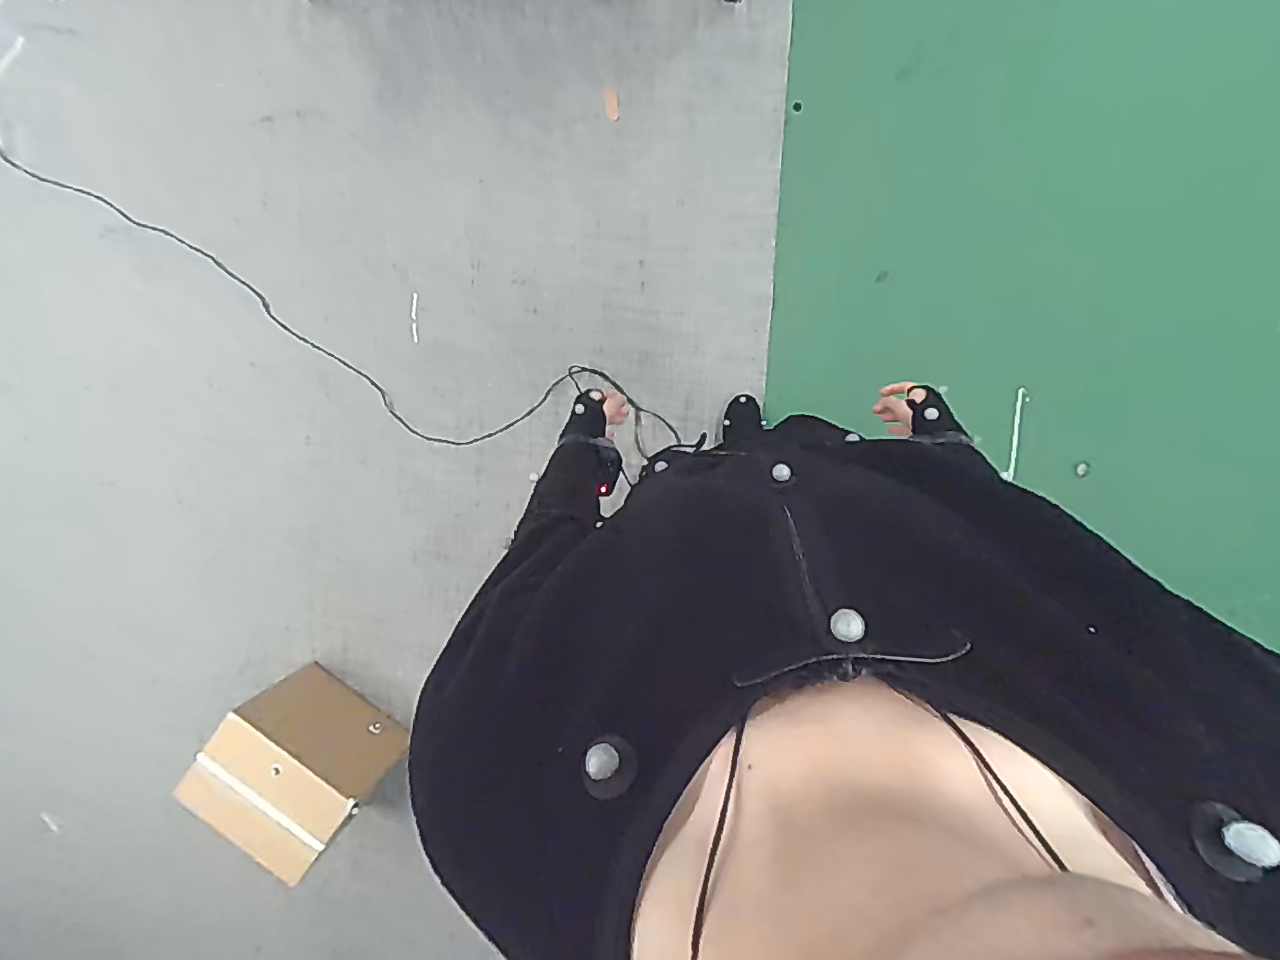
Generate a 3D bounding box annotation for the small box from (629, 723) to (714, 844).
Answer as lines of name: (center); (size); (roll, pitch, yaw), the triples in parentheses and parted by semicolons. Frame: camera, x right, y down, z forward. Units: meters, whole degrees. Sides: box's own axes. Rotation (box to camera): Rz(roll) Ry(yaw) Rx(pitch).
small box: (0.071, 0.650, 1.179); (0.168, 0.176, 0.179); (-5, 95, 6)
